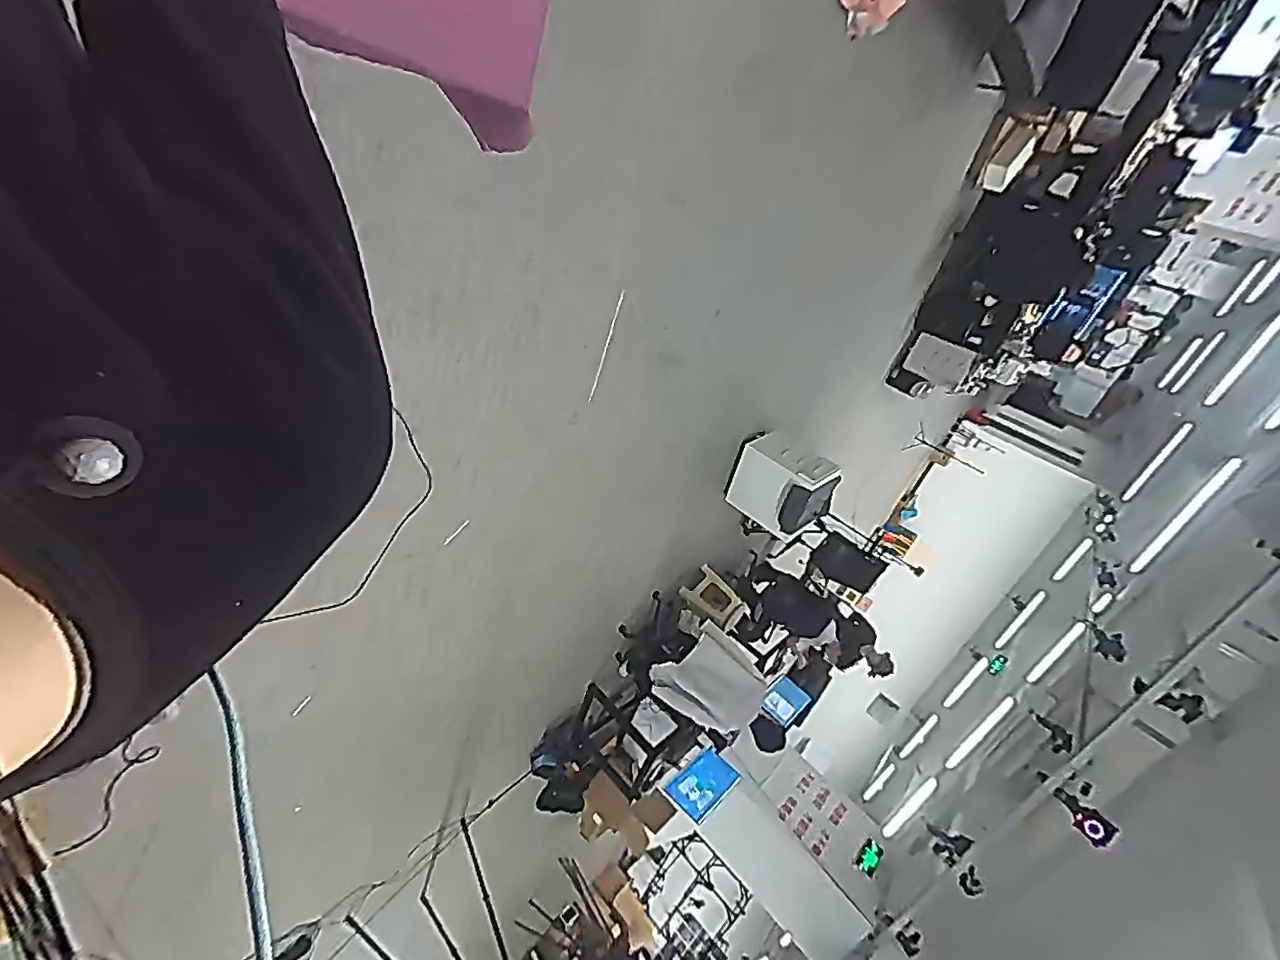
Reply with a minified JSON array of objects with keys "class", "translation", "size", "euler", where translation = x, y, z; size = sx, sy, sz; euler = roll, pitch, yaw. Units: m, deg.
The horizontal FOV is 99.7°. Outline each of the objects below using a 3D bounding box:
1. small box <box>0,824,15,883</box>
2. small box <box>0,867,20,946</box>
[{"class":"small box","translation":[-1.746,0.975,1.368],"size":[0.179,0.176,0.168],"euler":[-18,134,-43]},{"class":"small box","translation":[-1.636,1.046,1.272],"size":[0.179,0.176,0.168],"euler":[-32,143,-31]}]
